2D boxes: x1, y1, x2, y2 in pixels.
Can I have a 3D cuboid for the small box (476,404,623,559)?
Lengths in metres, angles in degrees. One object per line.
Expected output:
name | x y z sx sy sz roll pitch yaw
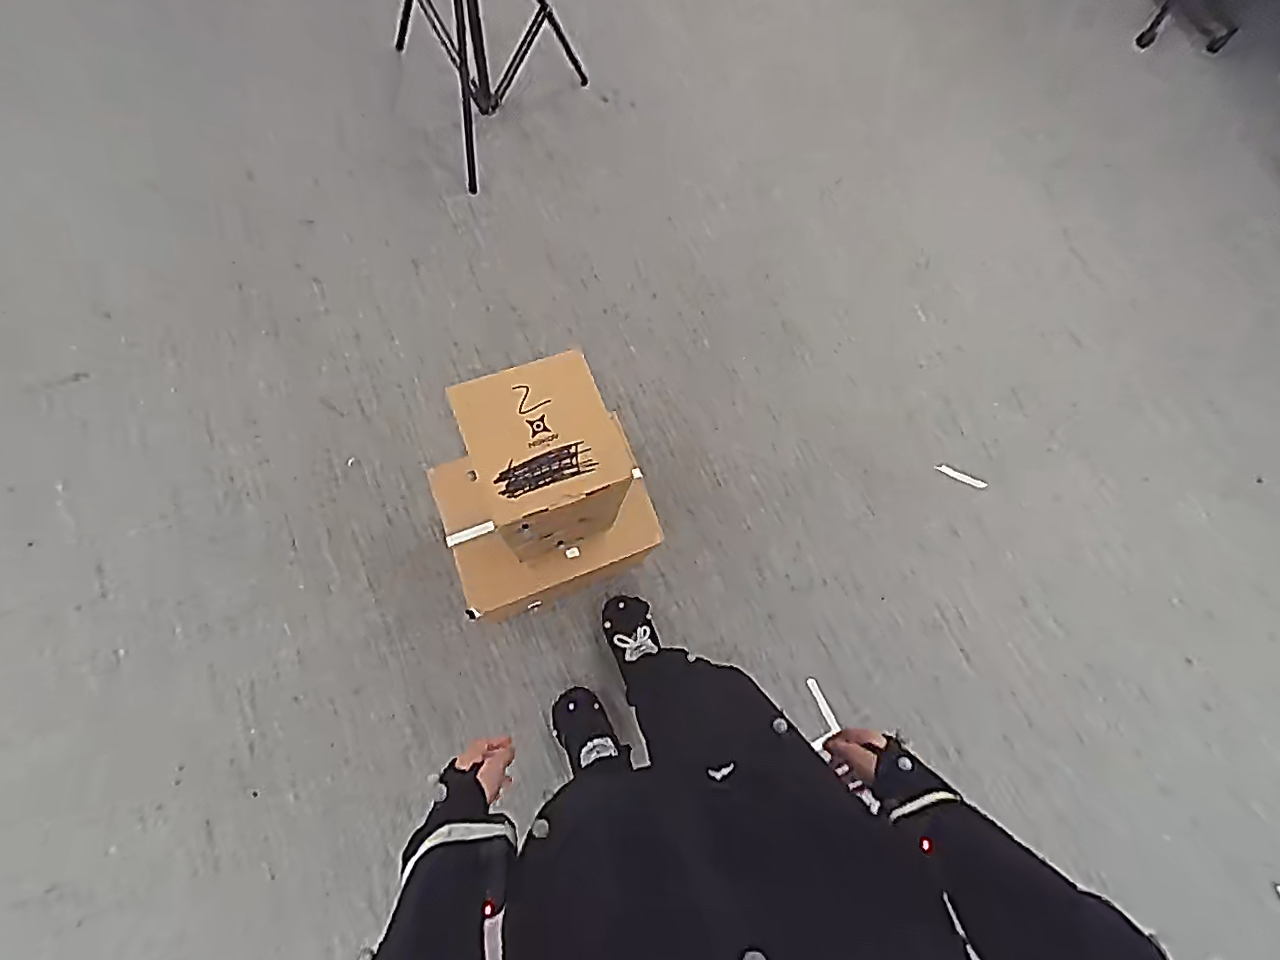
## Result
small box | -0.142 0.010 0.851 0.168 0.176 0.179 -21 80 -13
